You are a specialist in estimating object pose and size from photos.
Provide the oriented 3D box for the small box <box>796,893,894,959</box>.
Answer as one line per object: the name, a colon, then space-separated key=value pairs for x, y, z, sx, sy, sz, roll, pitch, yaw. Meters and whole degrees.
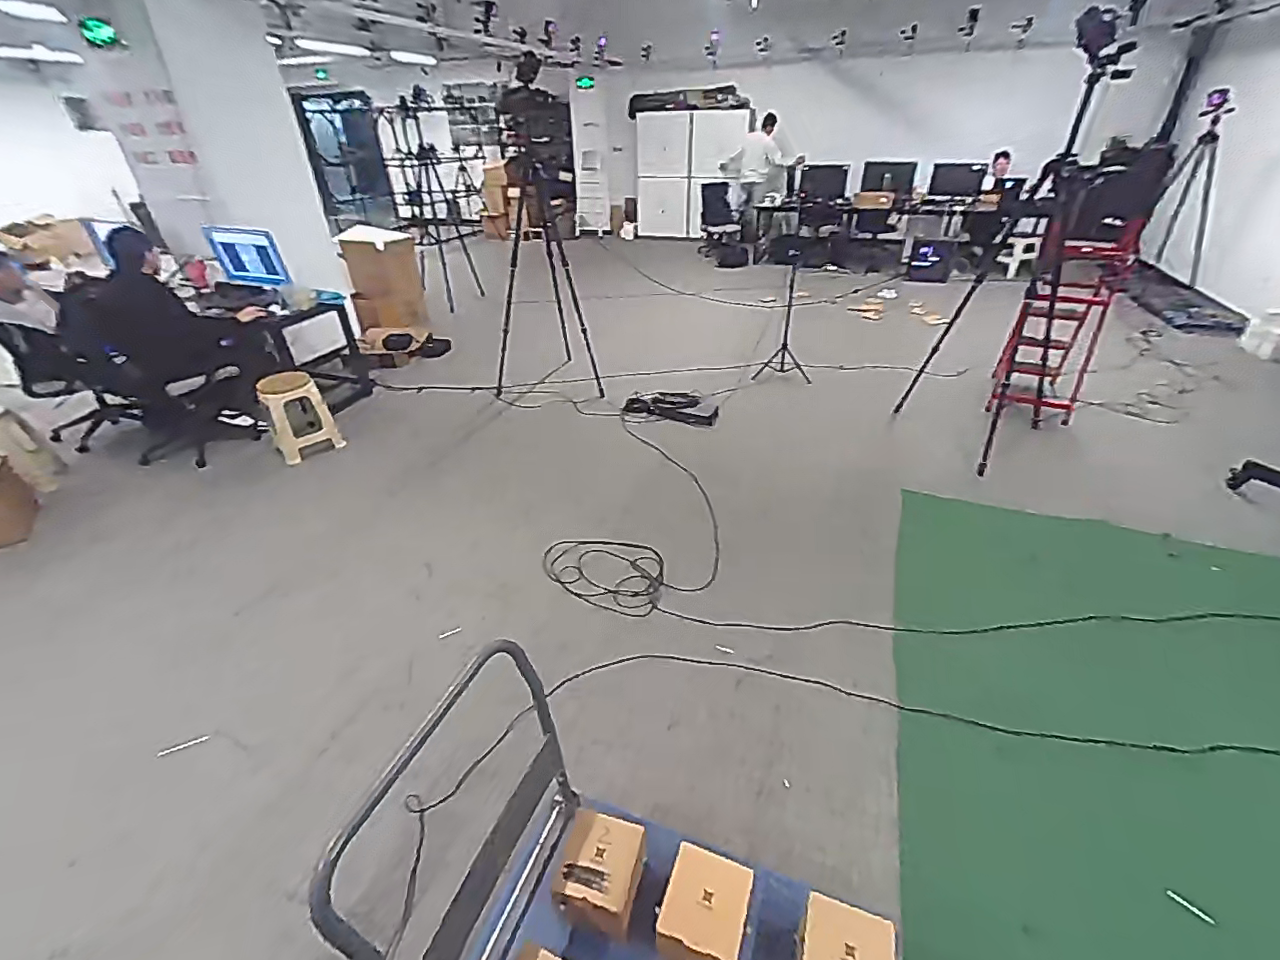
small box: x=0.404 y=0.989 z=1.081 sx=0.168 sy=0.176 sz=0.179 roll=9 pitch=35 yaw=19

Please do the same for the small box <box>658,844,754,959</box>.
small box: x=0.141 y=0.945 z=1.169 sx=0.168 sy=0.176 sz=0.179 roll=11 pitch=37 yaw=19
